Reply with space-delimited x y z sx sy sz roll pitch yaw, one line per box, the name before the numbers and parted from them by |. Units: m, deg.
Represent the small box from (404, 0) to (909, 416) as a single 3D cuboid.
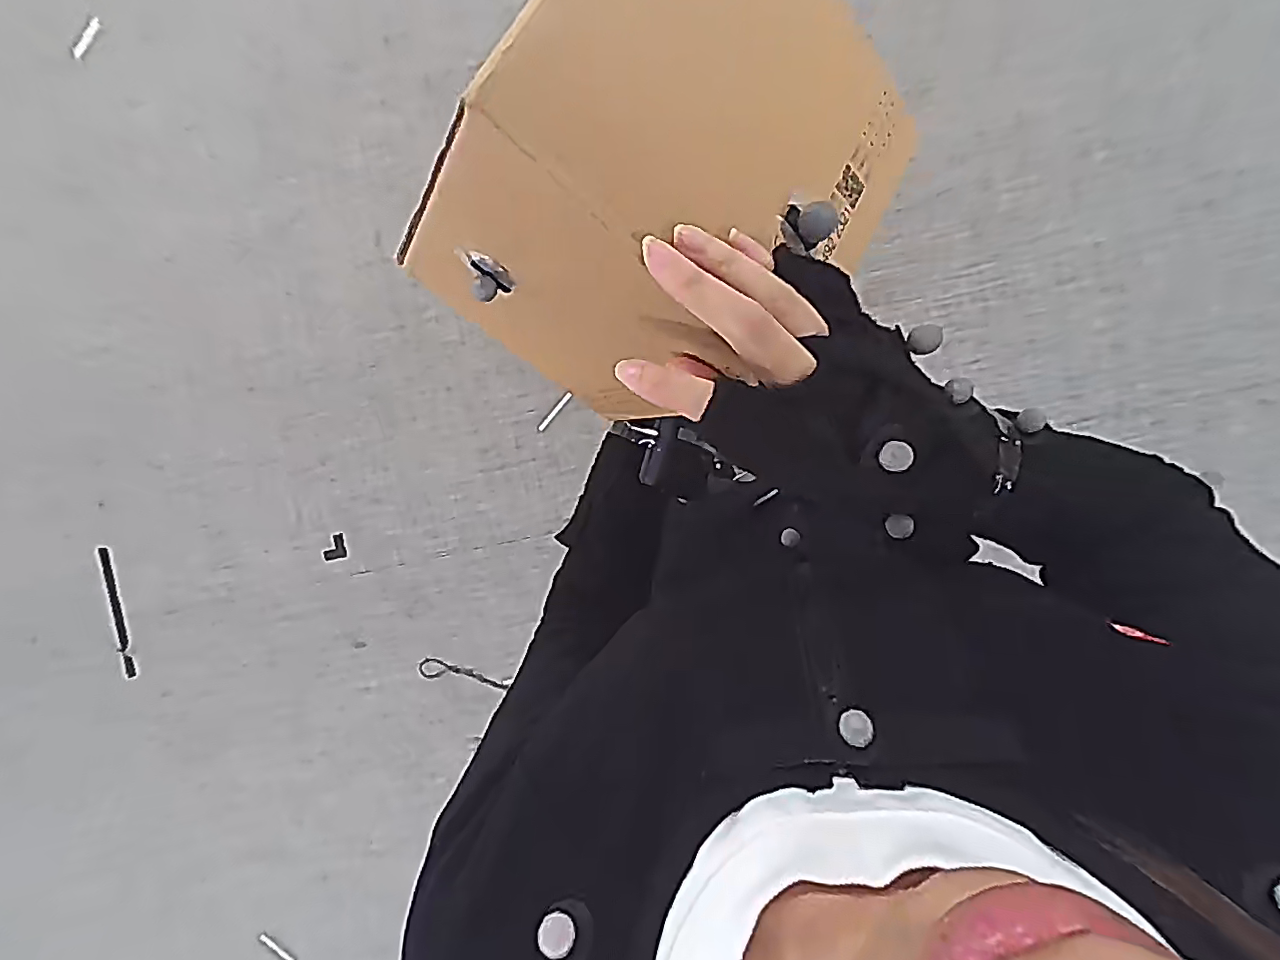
small box | 0.003 -0.147 0.295 0.176 0.179 0.168 33 76 -28
